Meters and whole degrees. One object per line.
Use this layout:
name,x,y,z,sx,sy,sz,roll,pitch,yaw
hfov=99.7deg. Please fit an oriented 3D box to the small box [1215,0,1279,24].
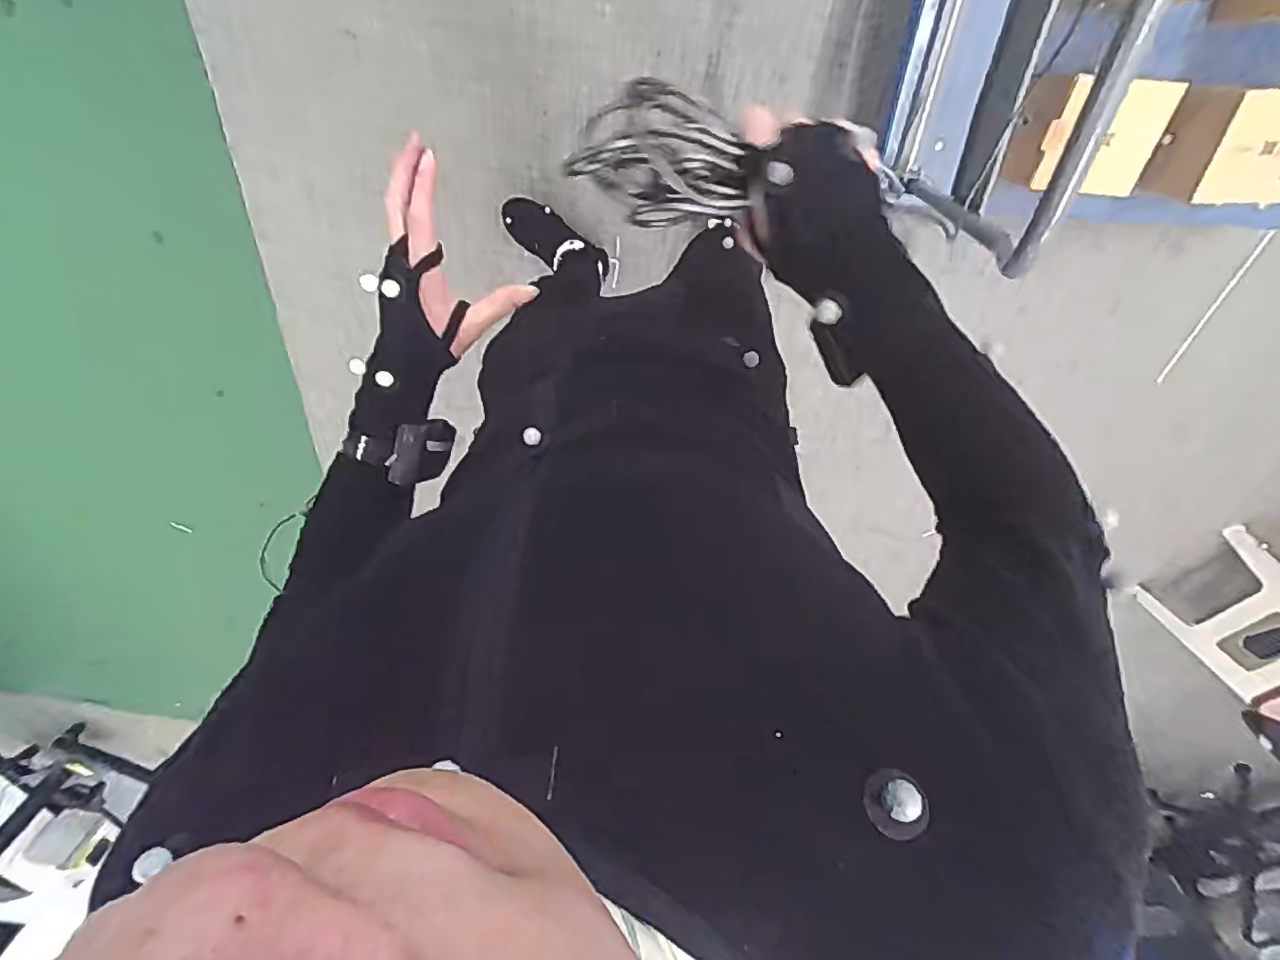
small box,1.048,-0.796,0.808,0.179,0.176,0.168,2,127,5

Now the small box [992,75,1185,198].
small box,0.786,-0.620,0.973,0.179,0.176,0.168,6,127,3

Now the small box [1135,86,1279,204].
small box,1.055,-0.594,0.957,0.179,0.176,0.168,3,126,6
